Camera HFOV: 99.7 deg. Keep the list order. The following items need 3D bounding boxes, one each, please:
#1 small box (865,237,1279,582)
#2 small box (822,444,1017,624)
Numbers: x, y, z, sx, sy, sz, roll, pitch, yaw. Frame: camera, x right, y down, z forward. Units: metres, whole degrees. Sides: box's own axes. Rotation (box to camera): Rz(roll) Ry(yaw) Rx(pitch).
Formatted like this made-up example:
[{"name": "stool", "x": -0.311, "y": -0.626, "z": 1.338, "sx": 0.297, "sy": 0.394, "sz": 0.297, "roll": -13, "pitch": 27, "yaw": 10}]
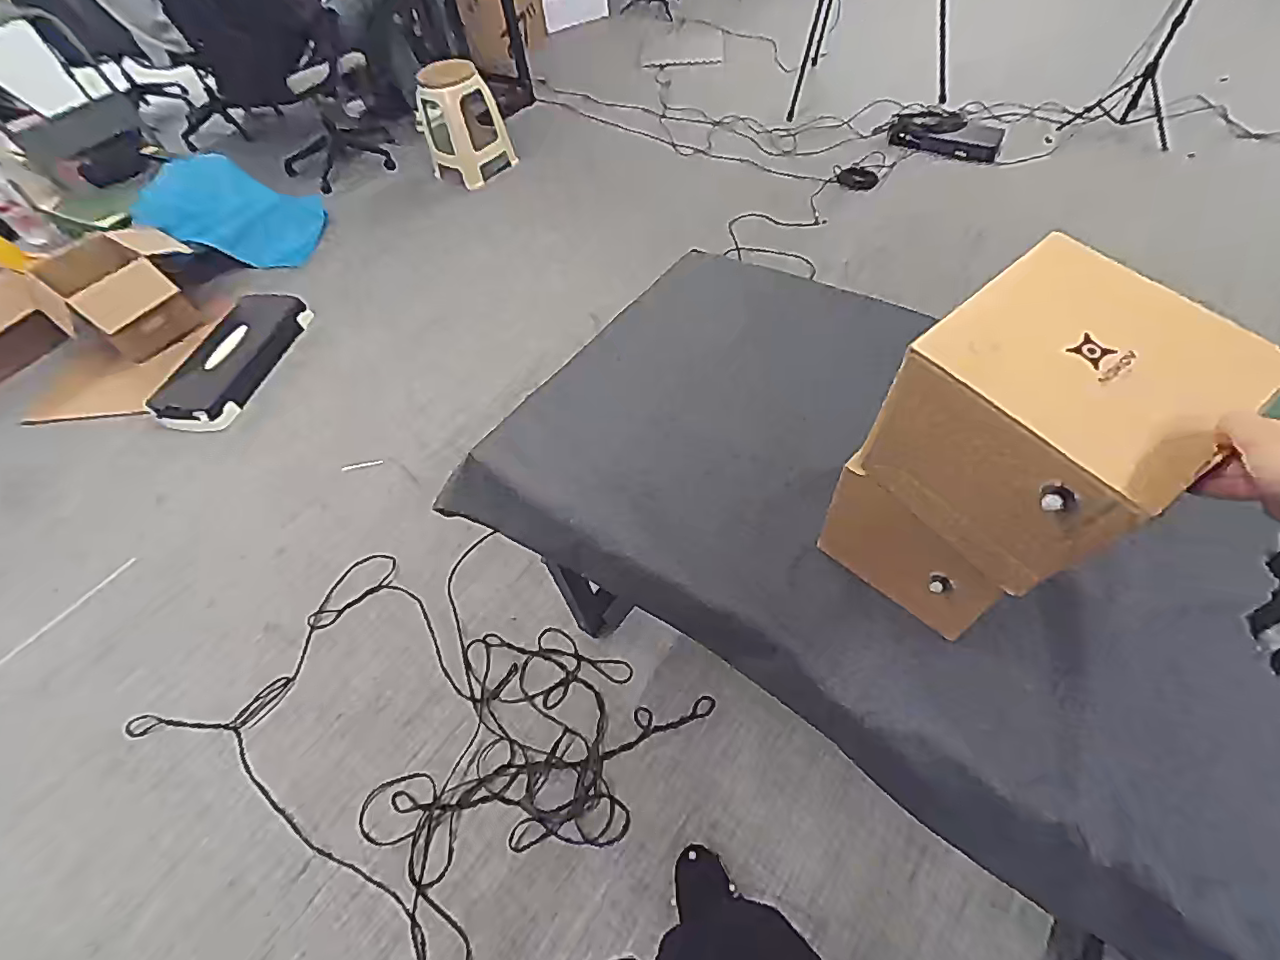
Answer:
[{"name": "small box", "x": 0.315, "y": -0.047, "z": 0.432, "sx": 0.168, "sy": 0.176, "sz": 0.179, "roll": -36, "pitch": 65, "yaw": -13}, {"name": "small box", "x": 0.327, "y": 0.032, "z": 0.589, "sx": 0.168, "sy": 0.176, "sz": 0.179, "roll": -40, "pitch": 59, "yaw": -22}]
